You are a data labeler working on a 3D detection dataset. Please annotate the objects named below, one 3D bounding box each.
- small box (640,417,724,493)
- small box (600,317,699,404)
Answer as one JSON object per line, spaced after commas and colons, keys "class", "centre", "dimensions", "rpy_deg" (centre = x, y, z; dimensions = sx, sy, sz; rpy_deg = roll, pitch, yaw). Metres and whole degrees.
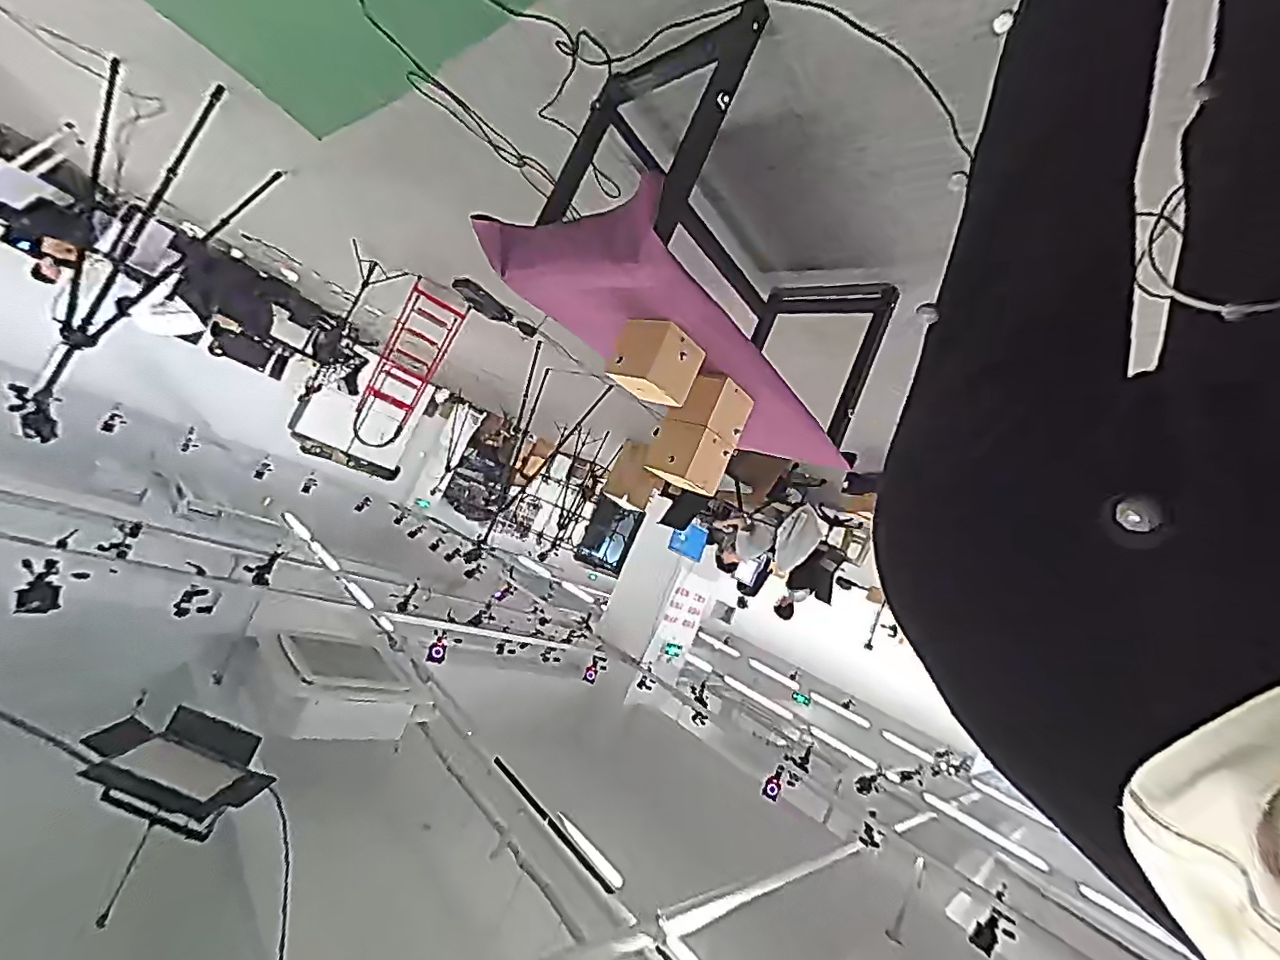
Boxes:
{"class": "small box", "centre": [0.138, -0.079, 1.662], "dimensions": [0.179, 0.176, 0.168], "rpy_deg": [20, 173, 44]}
{"class": "small box", "centre": [0.030, -0.328, 1.470], "dimensions": [0.179, 0.176, 0.168], "rpy_deg": [19, 173, 43]}
